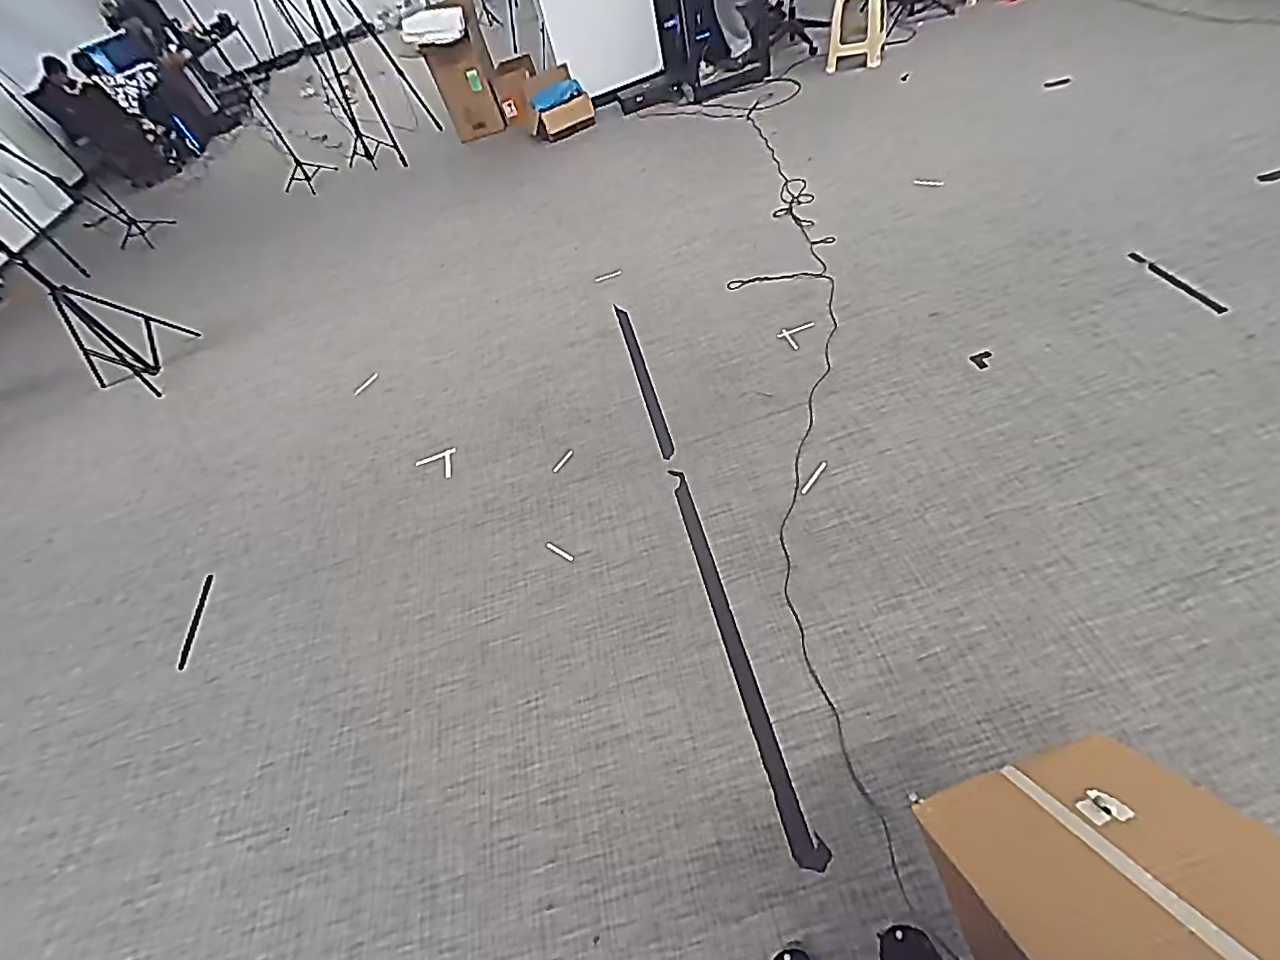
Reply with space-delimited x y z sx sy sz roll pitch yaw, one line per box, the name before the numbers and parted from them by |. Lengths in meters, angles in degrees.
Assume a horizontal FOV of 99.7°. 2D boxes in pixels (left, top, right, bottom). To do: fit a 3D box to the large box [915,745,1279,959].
large box | 0.619 0.598 0.633 0.320 0.408 0.320 -21 88 1
